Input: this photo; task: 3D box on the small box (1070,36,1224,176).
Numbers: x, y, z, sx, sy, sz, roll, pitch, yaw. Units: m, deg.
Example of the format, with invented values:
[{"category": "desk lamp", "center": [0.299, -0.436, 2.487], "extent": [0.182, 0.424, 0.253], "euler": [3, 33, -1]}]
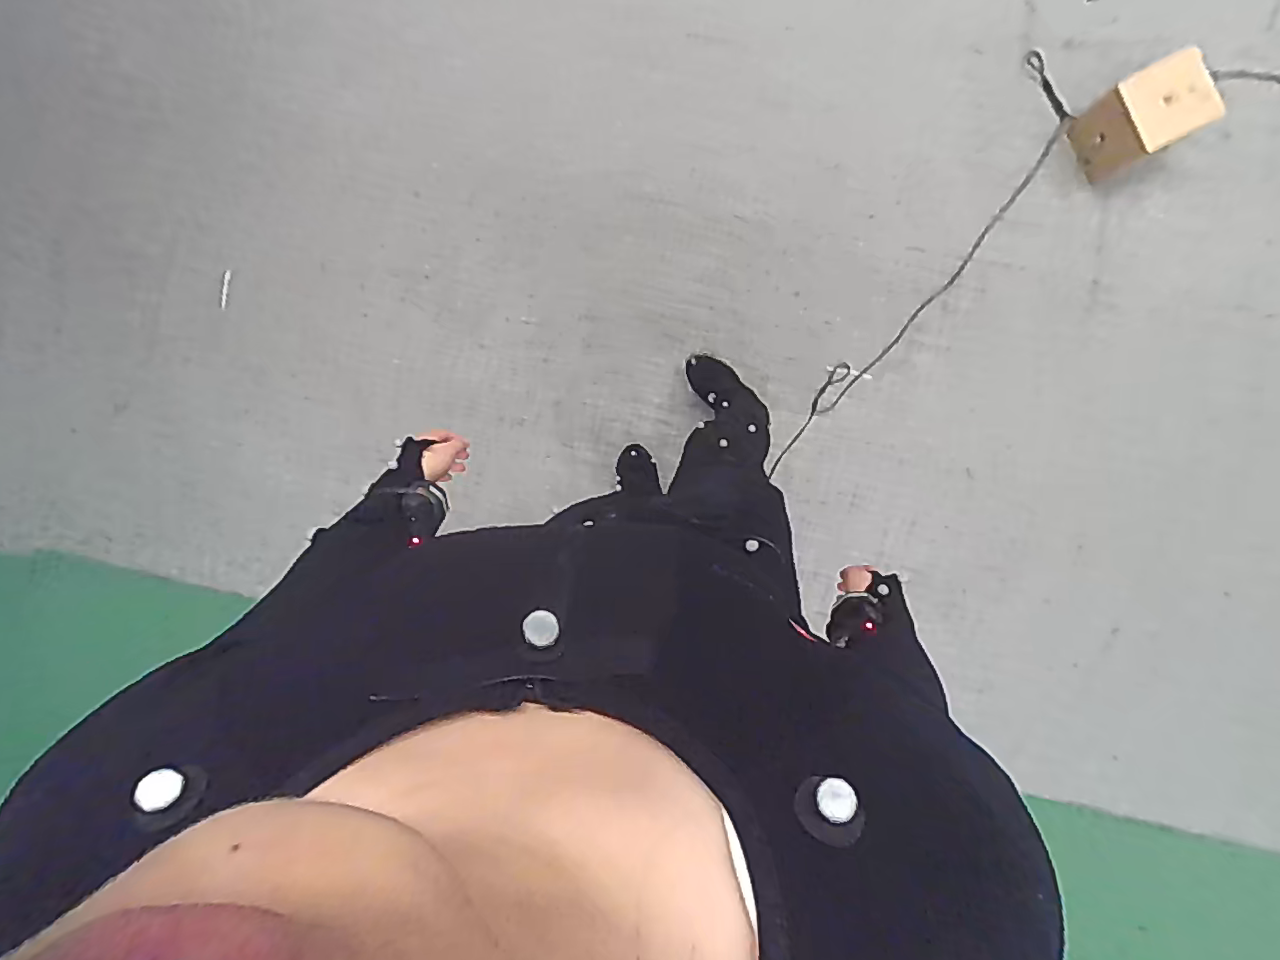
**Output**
[{"category": "small box", "center": [1.140, -0.840, 1.237], "extent": [0.179, 0.176, 0.168], "euler": [-27, 92, 6]}]

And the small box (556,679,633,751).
[{"category": "small box", "center": [-0.116, 0.585, 1.223], "extent": [0.168, 0.176, 0.179], "euler": [16, 93, 3]}]
